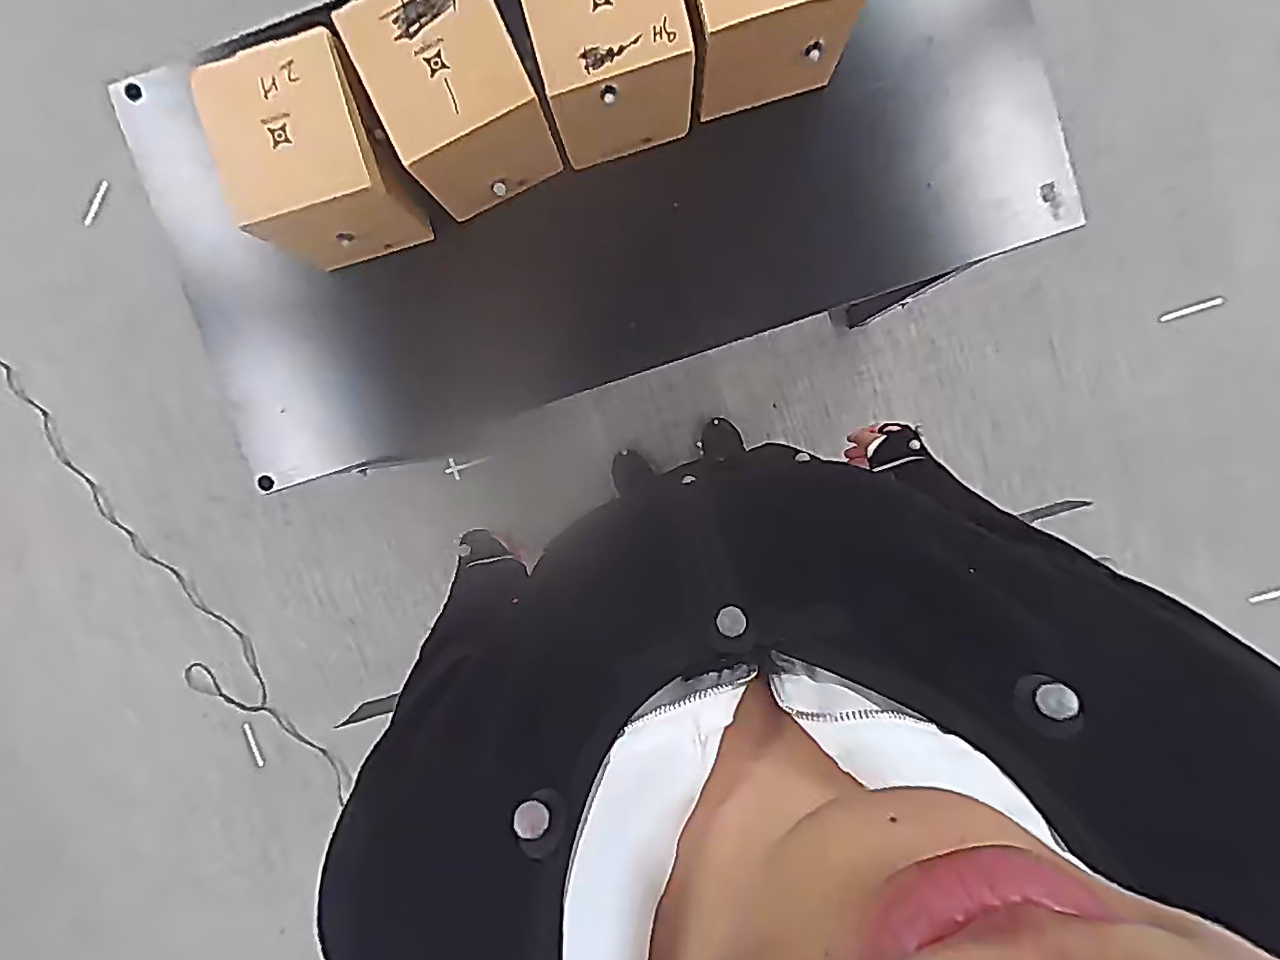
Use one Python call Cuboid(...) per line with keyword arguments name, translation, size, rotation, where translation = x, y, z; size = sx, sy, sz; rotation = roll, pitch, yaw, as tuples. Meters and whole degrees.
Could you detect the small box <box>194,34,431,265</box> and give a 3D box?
Cuboid(name="small box", translation=(-0.390, -0.389, 0.678), size=(0.168, 0.176, 0.179), rotation=(-15, 93, 3))
